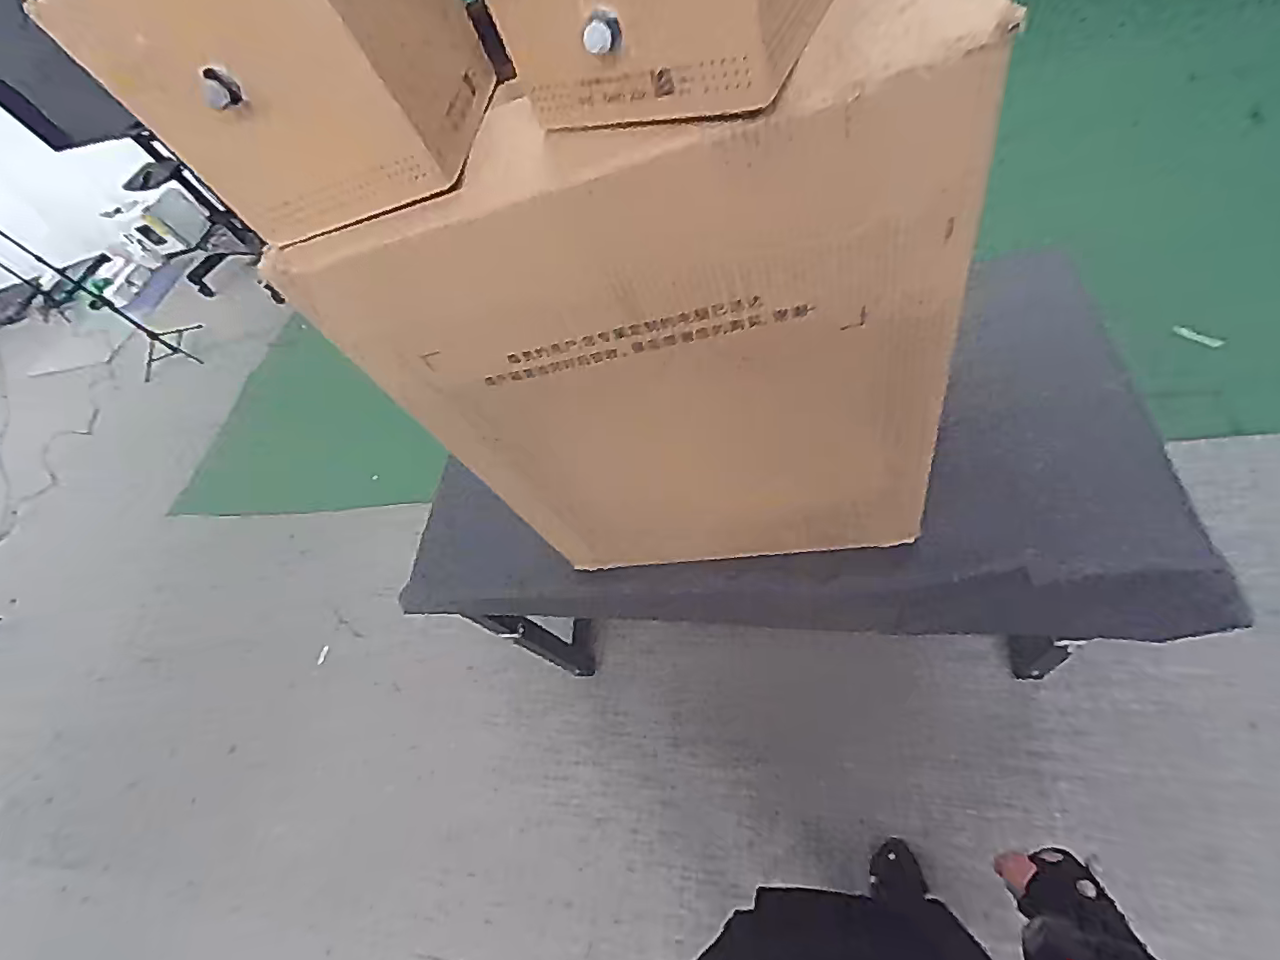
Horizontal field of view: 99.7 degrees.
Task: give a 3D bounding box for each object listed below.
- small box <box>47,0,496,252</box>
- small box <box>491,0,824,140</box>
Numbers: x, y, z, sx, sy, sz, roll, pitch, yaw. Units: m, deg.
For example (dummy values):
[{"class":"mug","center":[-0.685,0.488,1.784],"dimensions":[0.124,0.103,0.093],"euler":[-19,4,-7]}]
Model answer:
[{"class":"small box","center":[-0.236,-0.299,0.393],"dimensions":[0.179,0.176,0.168],"euler":[-9,57,20]},{"class":"small box","center":[0.009,-0.333,0.312],"dimensions":[0.168,0.176,0.179],"euler":[15,67,29]}]
